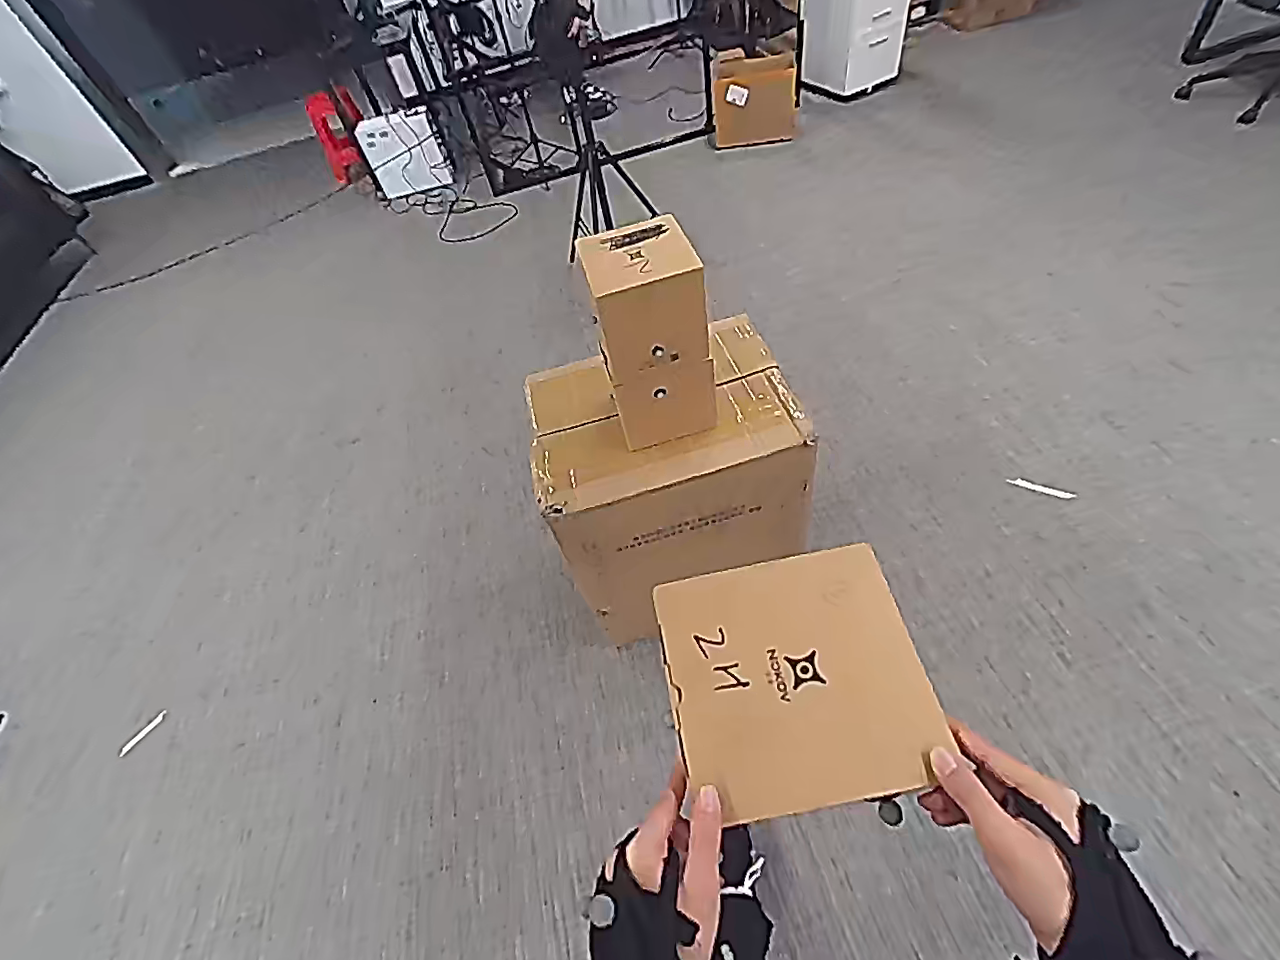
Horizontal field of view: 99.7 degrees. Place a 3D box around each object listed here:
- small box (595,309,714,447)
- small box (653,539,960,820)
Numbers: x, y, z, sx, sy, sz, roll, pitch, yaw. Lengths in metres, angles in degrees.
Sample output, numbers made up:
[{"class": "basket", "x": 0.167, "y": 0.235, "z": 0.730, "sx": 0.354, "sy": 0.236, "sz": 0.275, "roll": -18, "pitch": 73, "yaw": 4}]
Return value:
[{"class": "small box", "x": 0.031, "y": -0.185, "z": 1.009, "sx": 0.179, "sy": 0.176, "sz": 0.168, "roll": -16, "pitch": 51, "yaw": -2}, {"class": "small box", "x": 0.115, "y": 0.170, "z": 0.448, "sx": 0.179, "sy": 0.176, "sz": 0.168, "roll": -12, "pitch": 57, "yaw": 2}]
